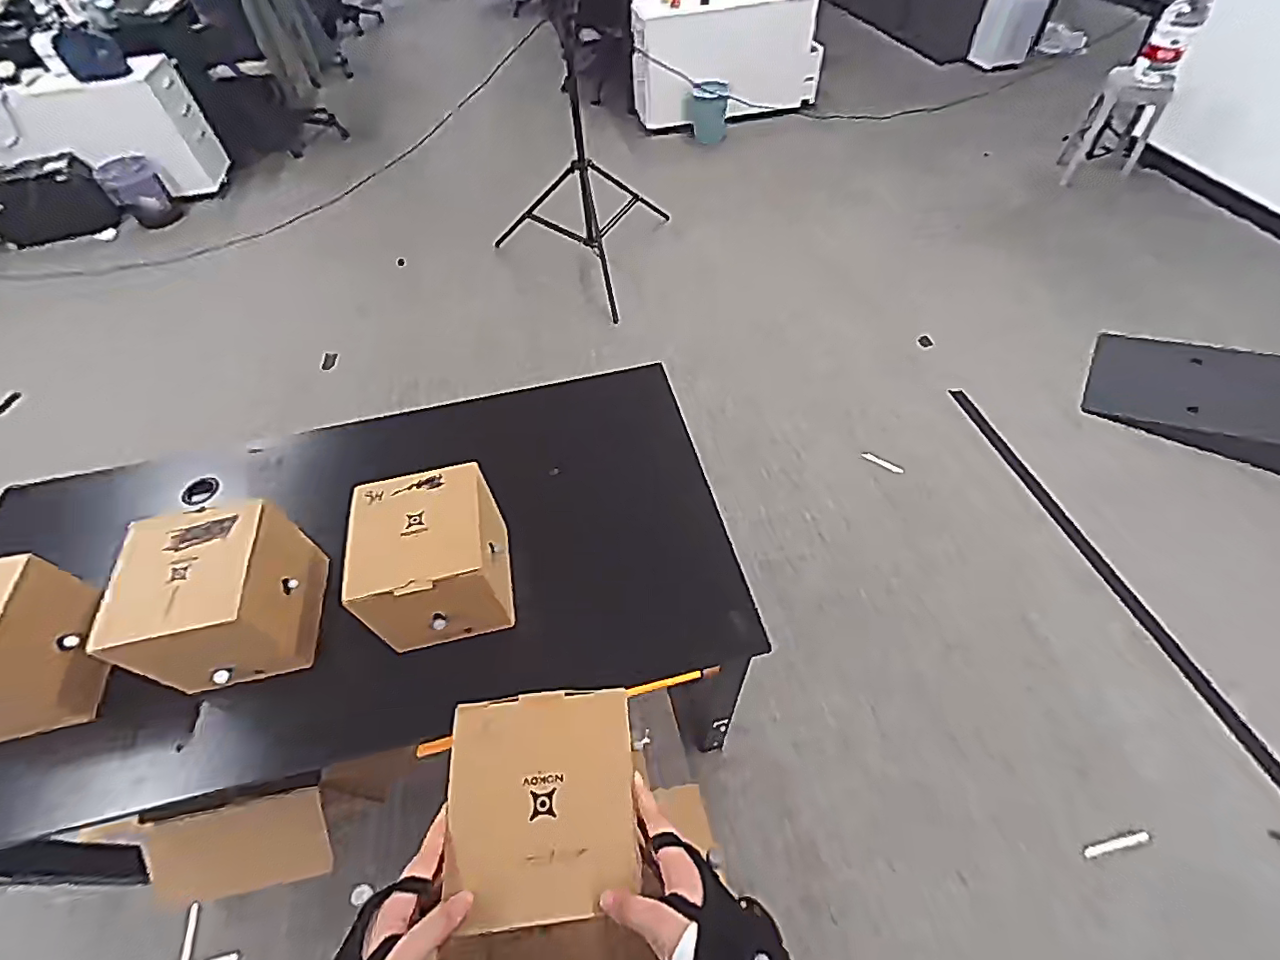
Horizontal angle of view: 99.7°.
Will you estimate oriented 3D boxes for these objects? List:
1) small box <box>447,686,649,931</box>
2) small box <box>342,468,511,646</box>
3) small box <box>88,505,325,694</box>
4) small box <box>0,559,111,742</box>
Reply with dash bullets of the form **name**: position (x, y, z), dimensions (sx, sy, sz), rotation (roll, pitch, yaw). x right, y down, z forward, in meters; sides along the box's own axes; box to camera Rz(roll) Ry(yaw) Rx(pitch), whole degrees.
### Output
- **small box**: position (-0.086, 0.326, 0.549), dimensions (0.168, 0.176, 0.179), rotation (-5, 57, -6)
- **small box**: position (-0.282, 0.114, 0.748), dimensions (0.168, 0.176, 0.179), rotation (-12, 53, -5)
- **small box**: position (-0.553, 0.162, 0.726), dimensions (0.168, 0.176, 0.179), rotation (-11, 54, -5)
- **small box**: position (-0.828, 0.227, 0.689), dimensions (0.179, 0.176, 0.168), rotation (-12, 53, -7)
